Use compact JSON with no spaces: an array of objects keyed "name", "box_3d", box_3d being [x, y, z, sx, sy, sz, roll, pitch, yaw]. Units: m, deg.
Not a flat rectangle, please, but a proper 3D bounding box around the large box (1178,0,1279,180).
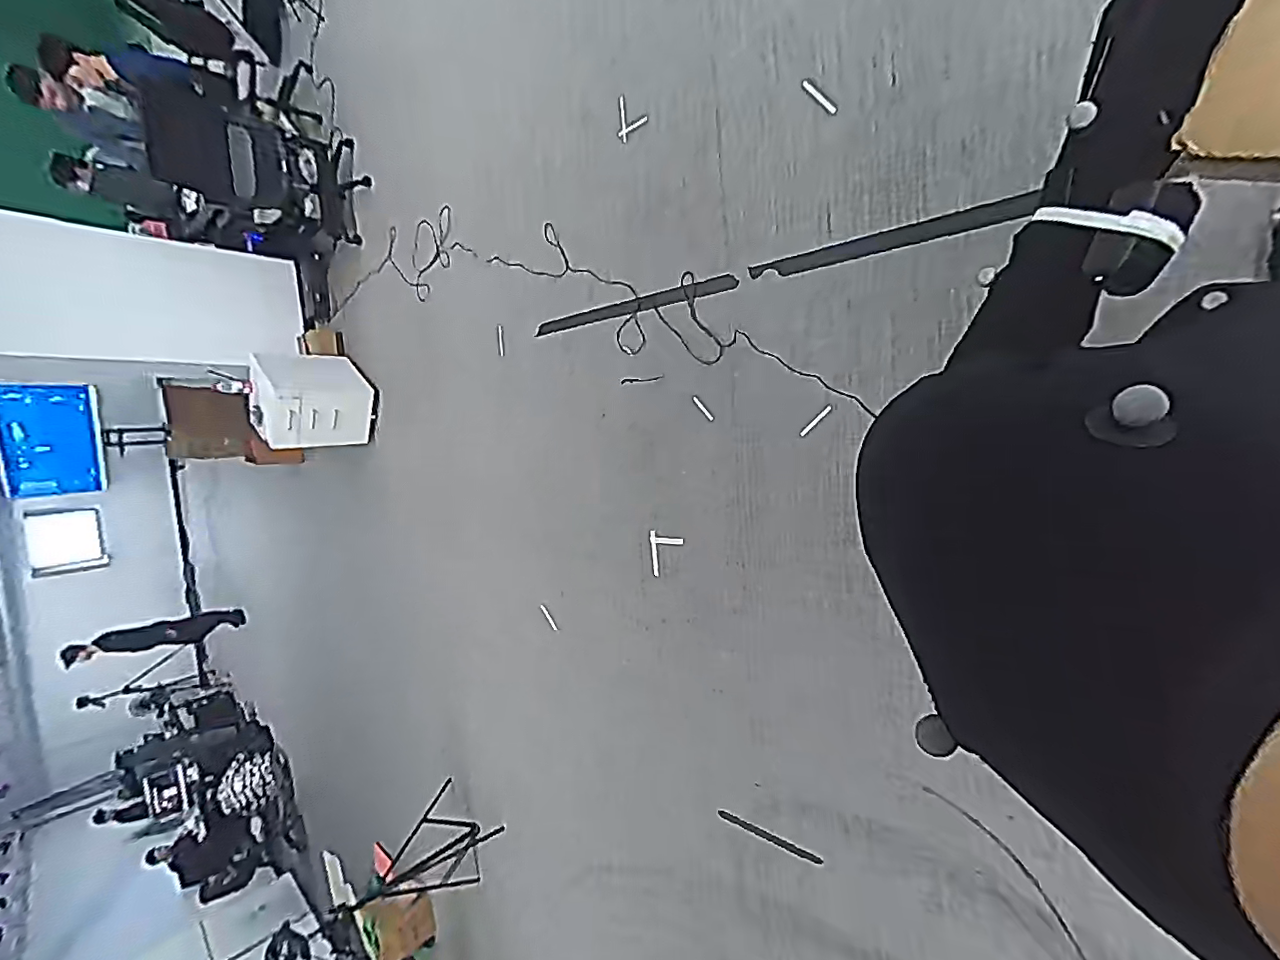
[{"name":"large box","box_3d":[0.630,-0.343,0.290,0.408,0.320,0.320,28,128,37]}]
